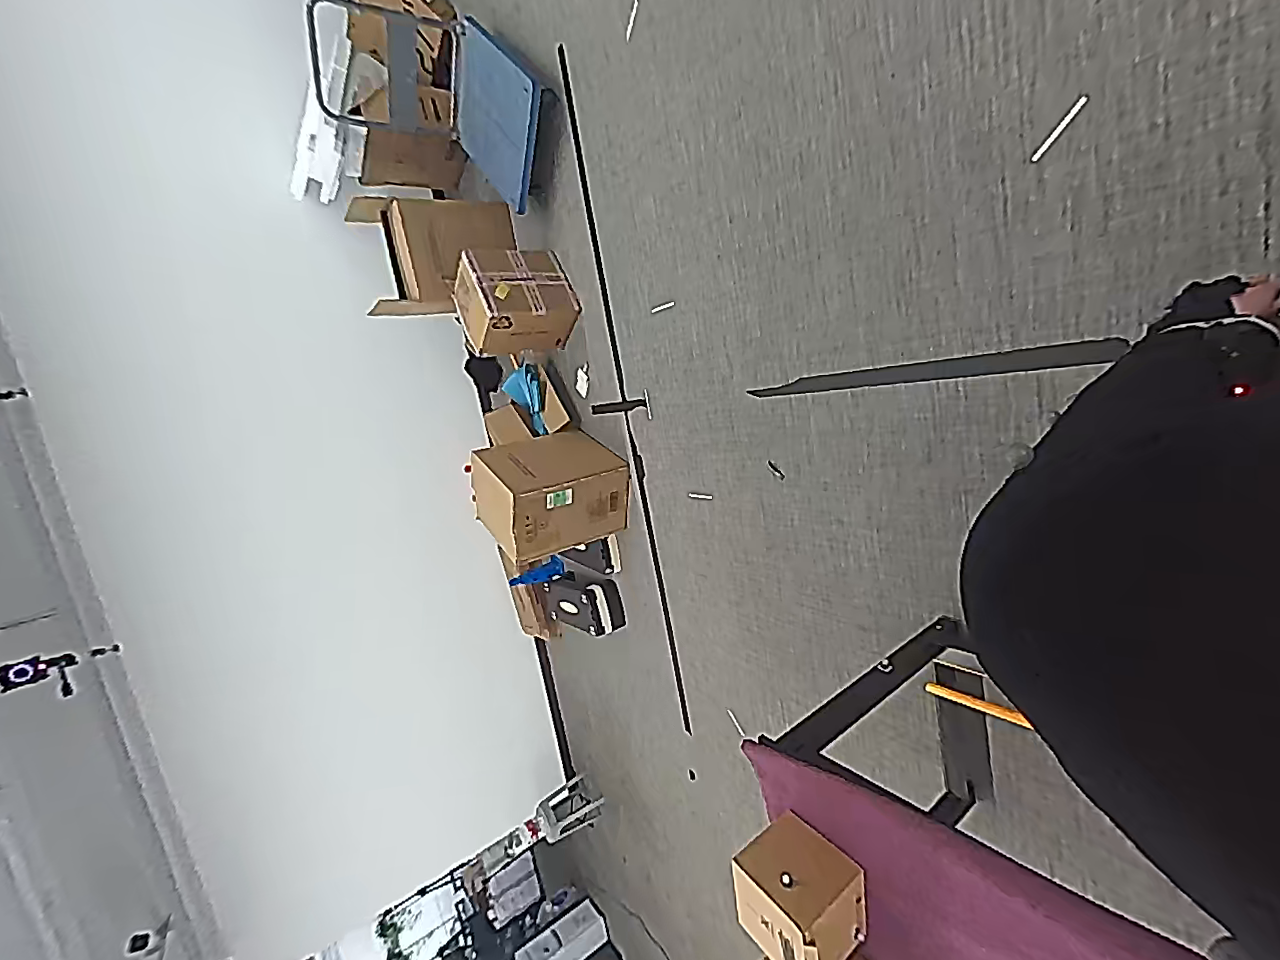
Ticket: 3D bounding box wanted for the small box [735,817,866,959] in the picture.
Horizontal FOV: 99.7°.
[{"bbox_3d":[0.307,0.789,1.020,0.179,0.176,0.168,13,116,55],"label":"small box"}]
